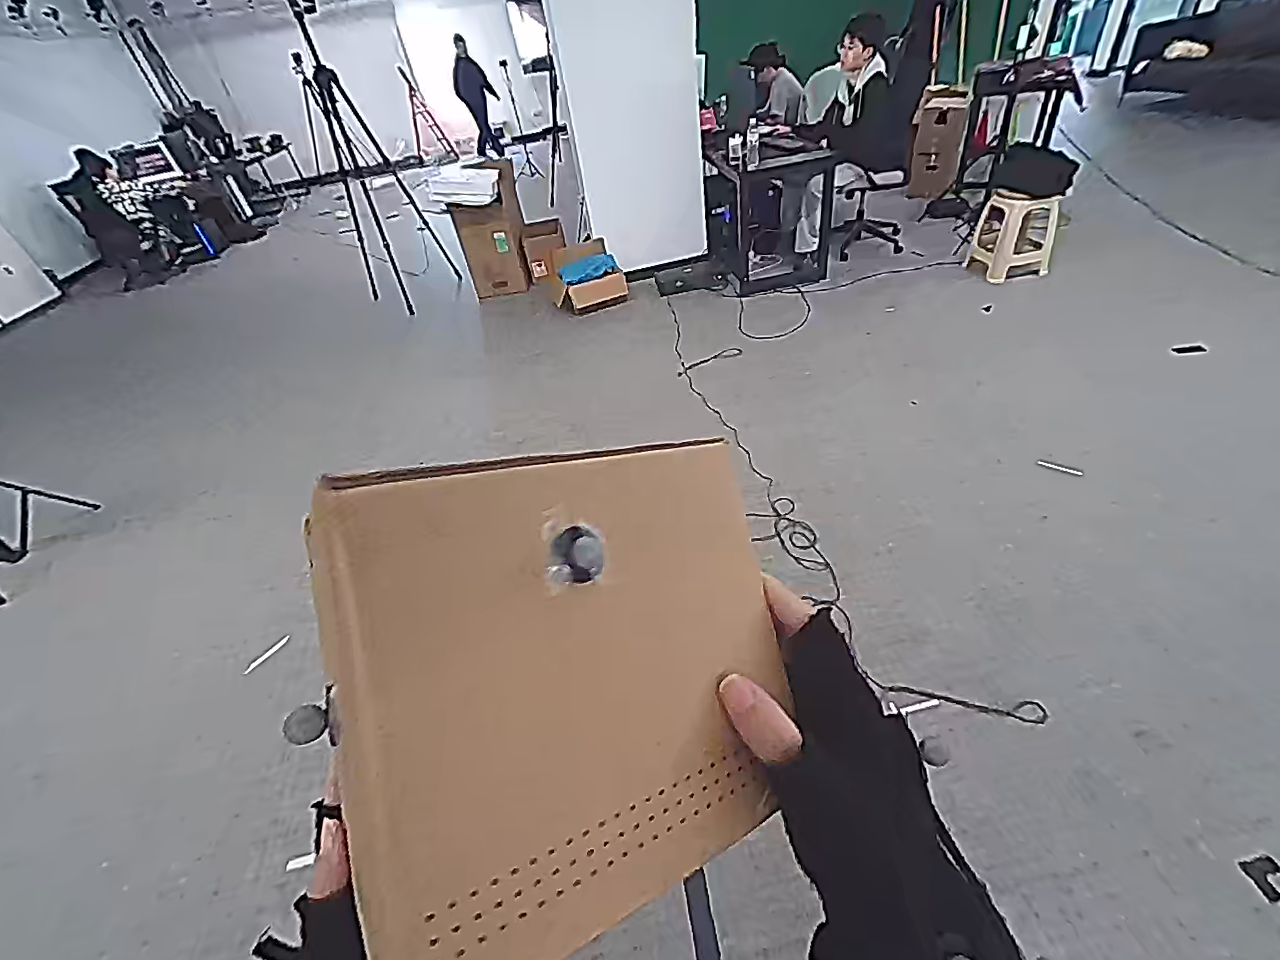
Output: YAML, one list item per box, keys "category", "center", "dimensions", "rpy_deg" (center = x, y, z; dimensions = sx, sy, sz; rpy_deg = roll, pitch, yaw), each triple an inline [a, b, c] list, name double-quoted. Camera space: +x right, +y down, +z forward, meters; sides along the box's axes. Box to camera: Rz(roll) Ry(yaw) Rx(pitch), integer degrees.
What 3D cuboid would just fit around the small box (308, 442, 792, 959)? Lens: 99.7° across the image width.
- category: "small box"
  center: [-0.052, 0.092, 0.274]
  dimensions: [0.179, 0.176, 0.168]
  rpy_deg: [-9, -8, -32]
